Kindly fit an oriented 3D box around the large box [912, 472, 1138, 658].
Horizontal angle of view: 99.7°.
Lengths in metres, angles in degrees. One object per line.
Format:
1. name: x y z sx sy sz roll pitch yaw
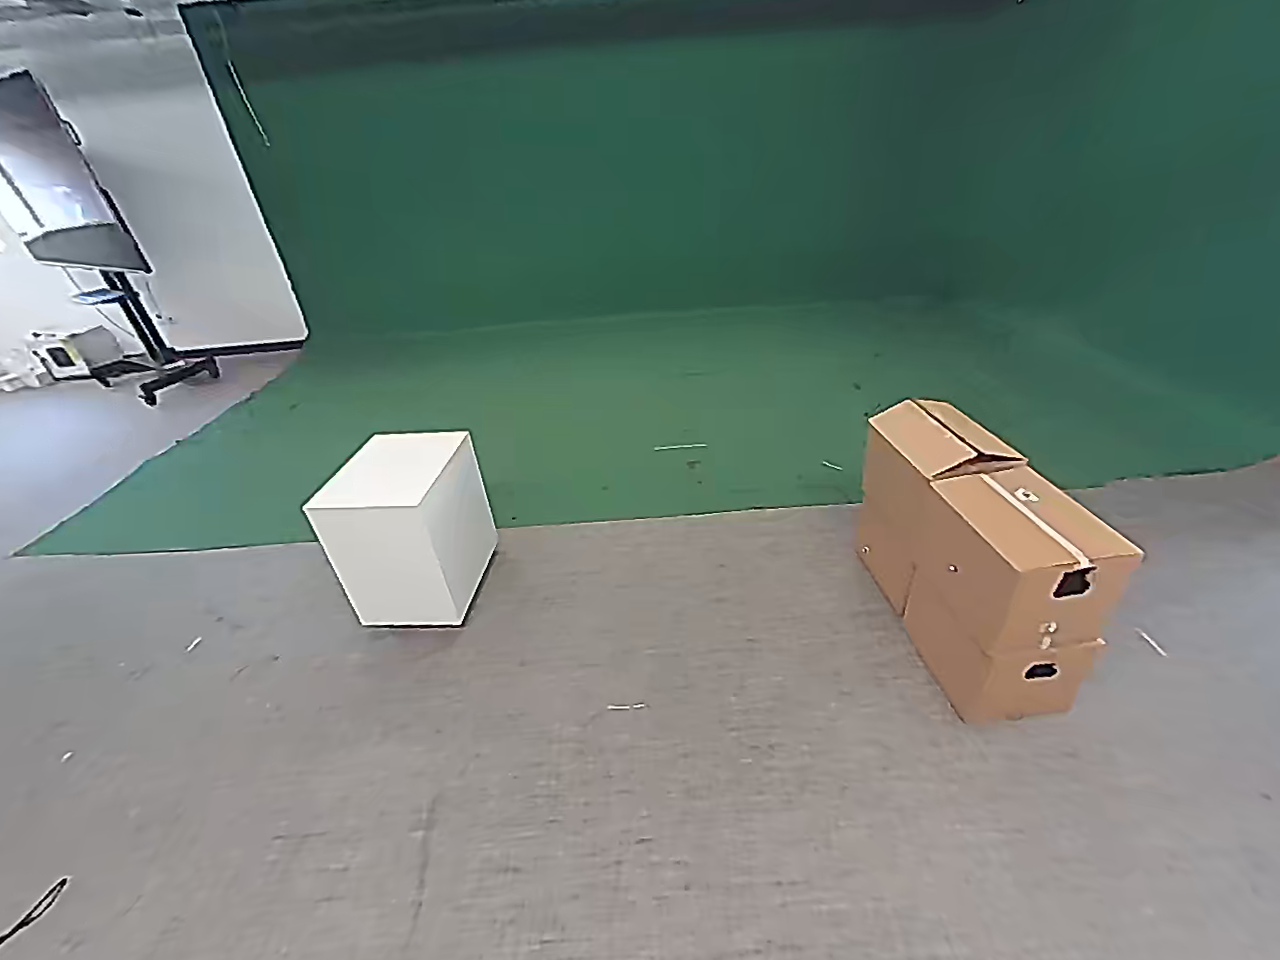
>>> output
1. large box: 1.036 0.226 1.523 0.320 0.320 0.408 -8 32 -2
